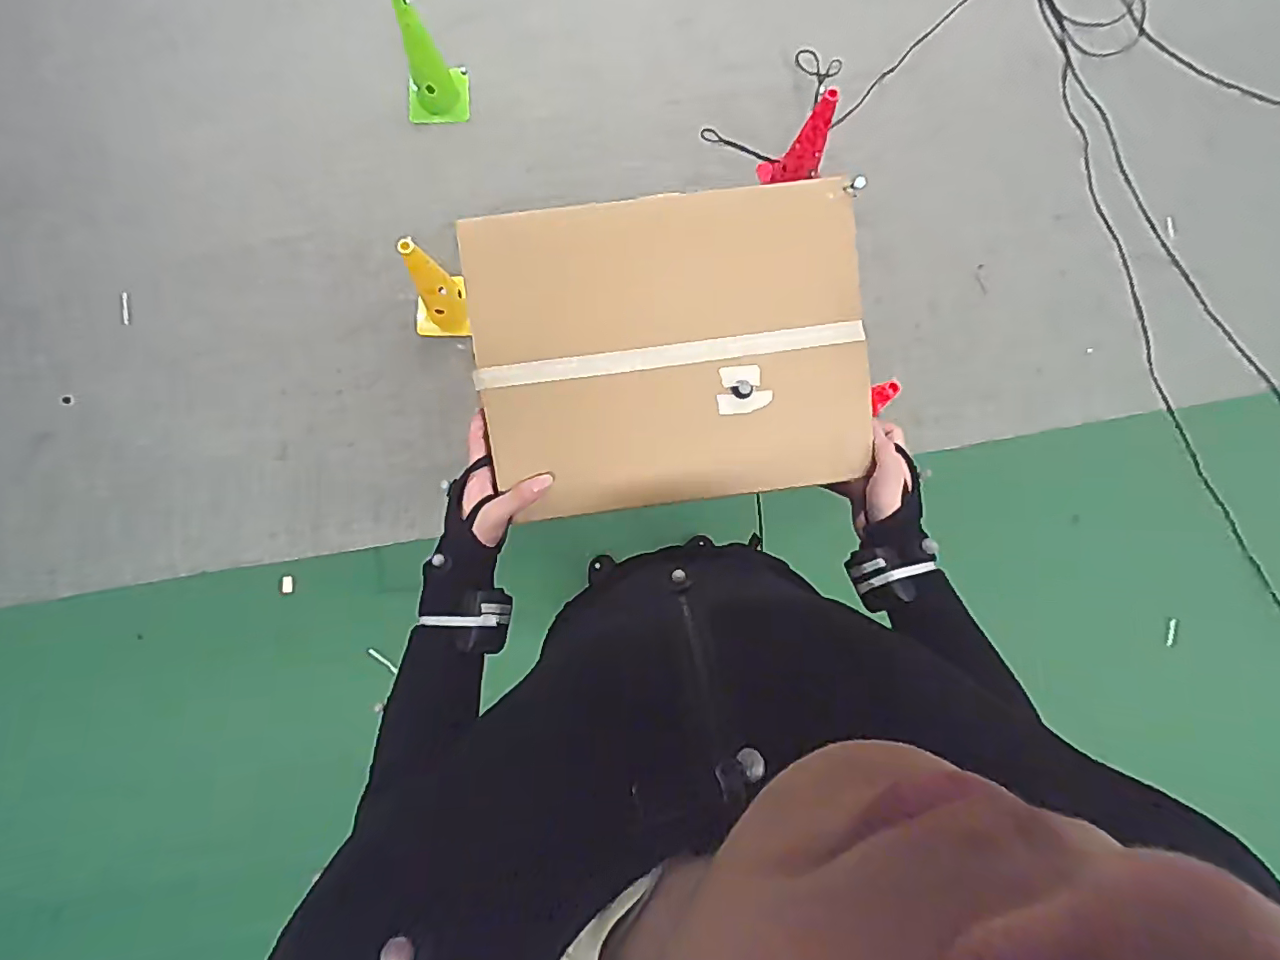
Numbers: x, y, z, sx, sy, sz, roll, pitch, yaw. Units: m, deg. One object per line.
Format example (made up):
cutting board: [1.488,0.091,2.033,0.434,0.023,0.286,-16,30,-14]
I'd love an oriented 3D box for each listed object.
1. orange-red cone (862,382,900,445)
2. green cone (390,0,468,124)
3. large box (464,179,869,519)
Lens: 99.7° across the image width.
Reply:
orange-red cone: [0.638,-0.214,1.544,0.199,0.360,0.198,-2,84,-3]
green cone: [-0.681,-1.318,1.655,0.200,0.368,0.202,-4,84,-2]
large box: [0.027,-0.150,0.718,0.408,0.320,0.320,-8,97,-3]
